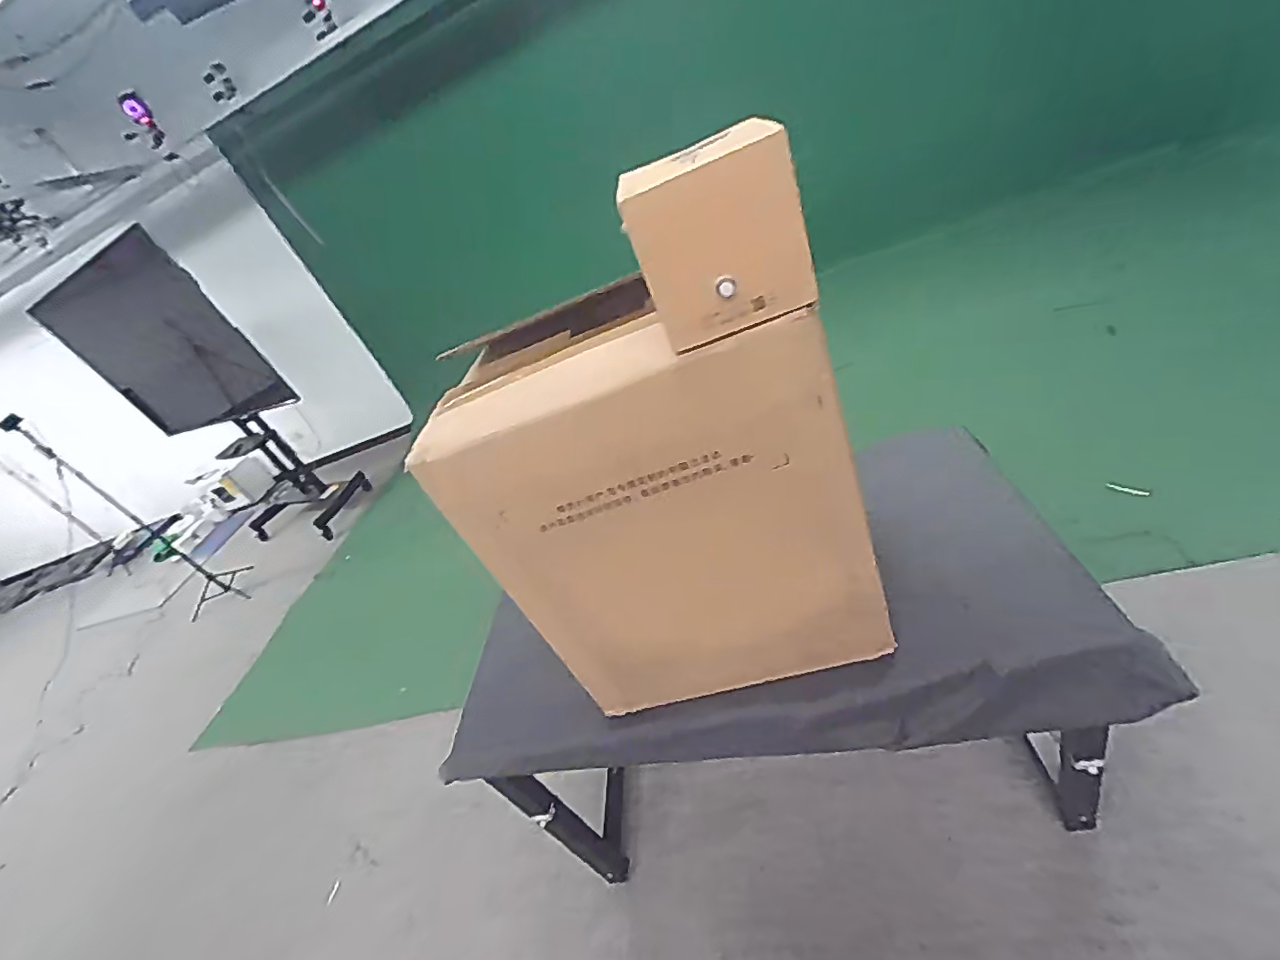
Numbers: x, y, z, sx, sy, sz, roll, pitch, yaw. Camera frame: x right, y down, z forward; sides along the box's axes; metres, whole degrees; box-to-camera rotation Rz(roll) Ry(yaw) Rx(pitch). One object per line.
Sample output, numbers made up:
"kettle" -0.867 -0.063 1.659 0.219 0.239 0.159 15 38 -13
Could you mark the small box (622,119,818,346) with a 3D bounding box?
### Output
"small box" 0.089 -0.278 0.612 0.168 0.176 0.179 -17 36 13
